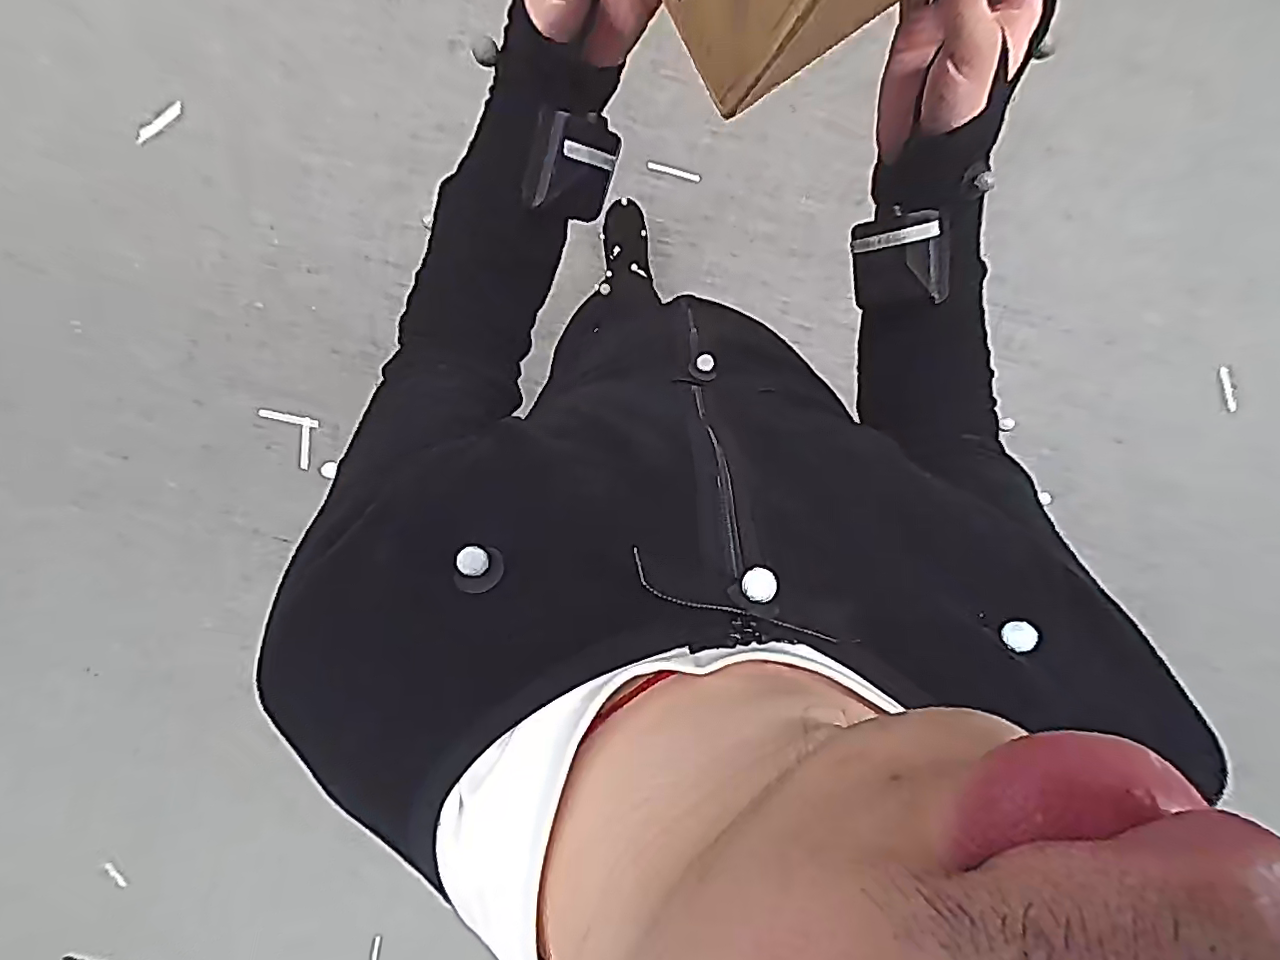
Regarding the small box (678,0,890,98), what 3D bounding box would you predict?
[{"bbox_3d":[0.086,-0.294,0.203,0.179,0.176,0.168,-33,109,3],"label":"small box"}]
